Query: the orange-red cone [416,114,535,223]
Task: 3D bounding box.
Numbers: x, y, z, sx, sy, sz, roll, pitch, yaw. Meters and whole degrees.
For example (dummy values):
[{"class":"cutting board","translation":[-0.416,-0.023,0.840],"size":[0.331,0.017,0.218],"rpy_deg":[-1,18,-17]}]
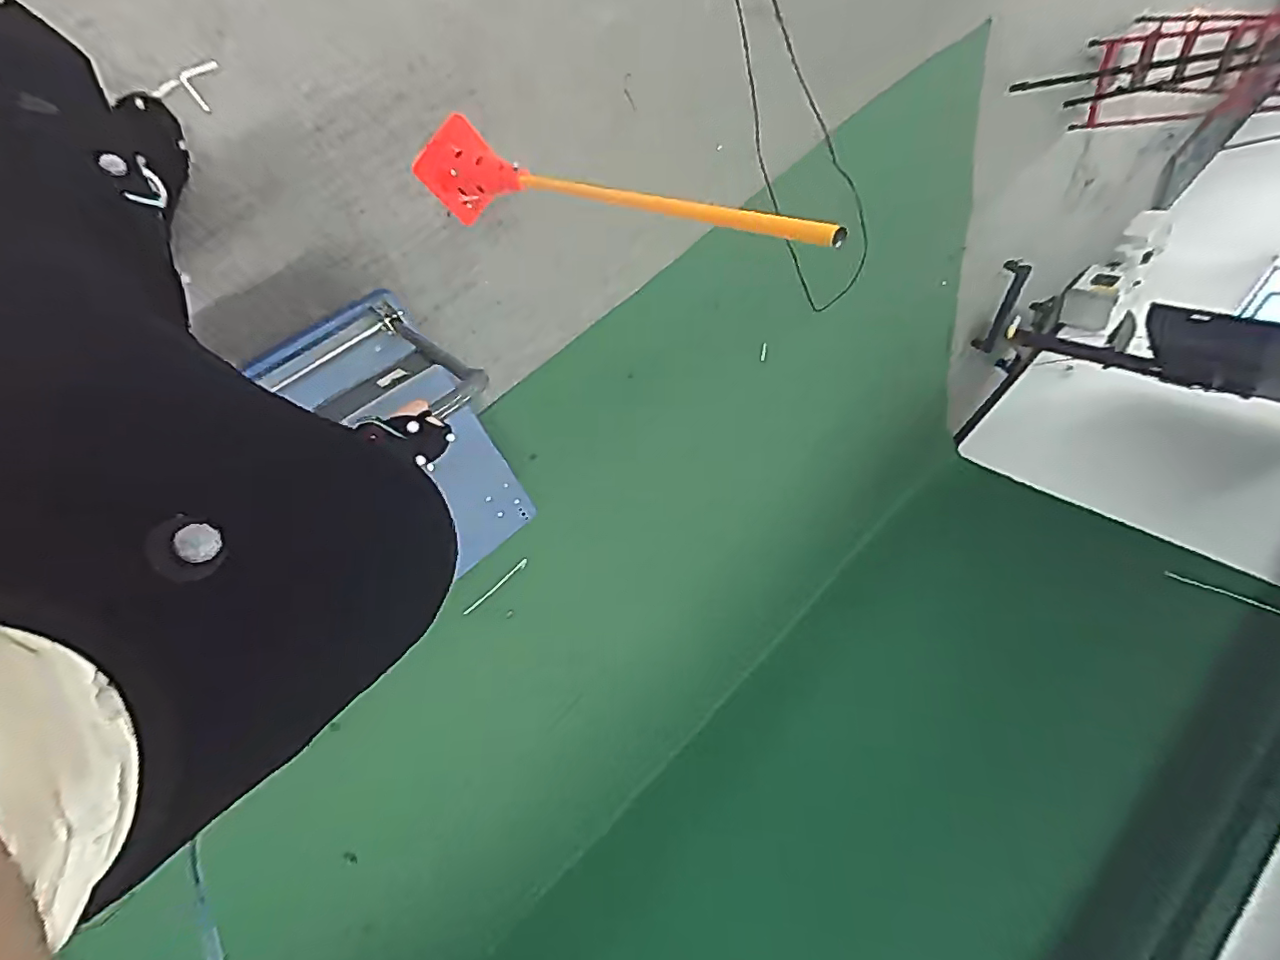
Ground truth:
[{"class":"orange-red cone","translation":[-0.360,-0.750,1.324],"size":[0.199,0.360,0.198],"rpy_deg":[-53,140,-4]}]
